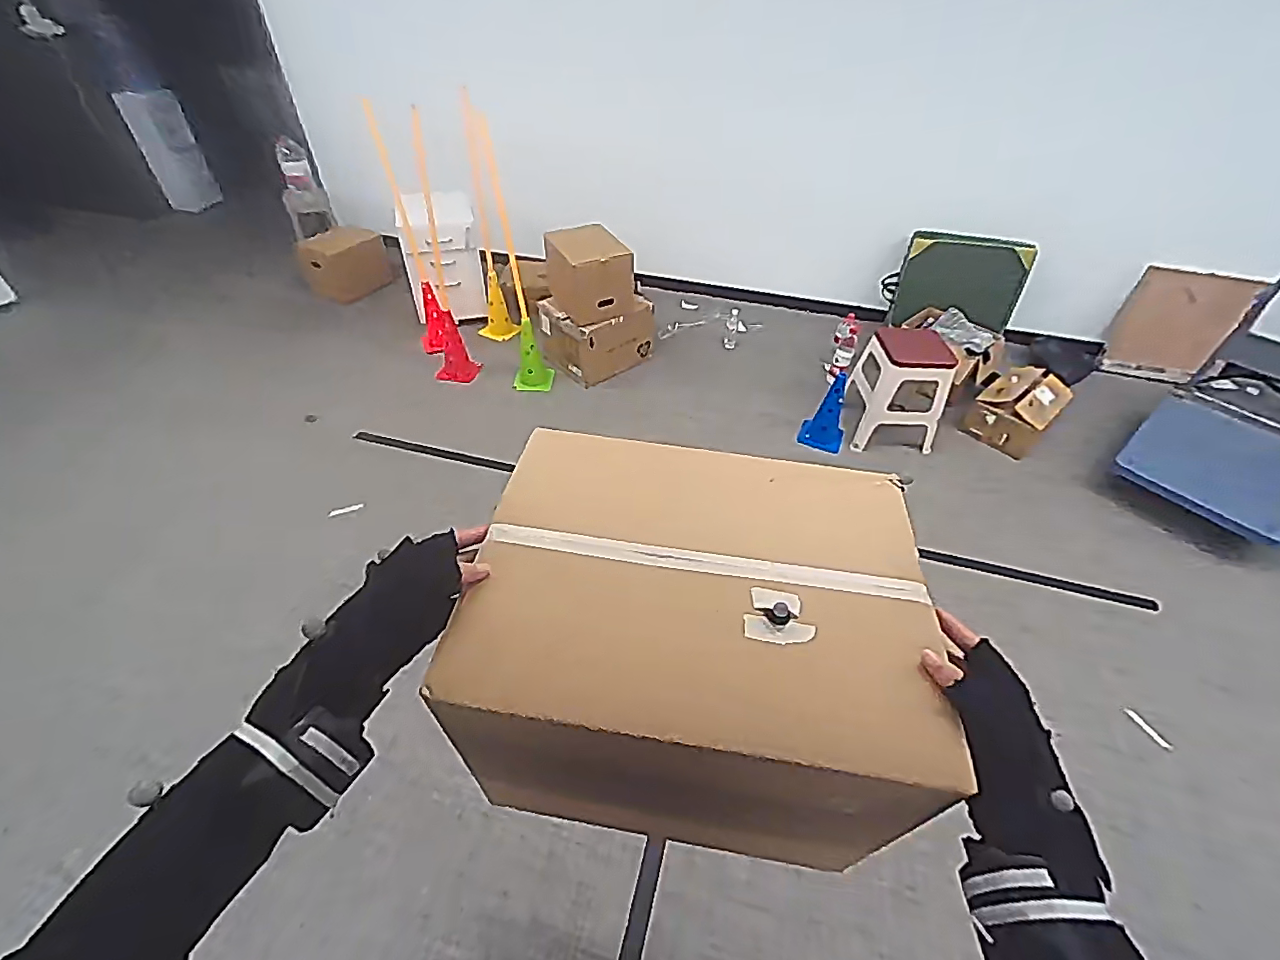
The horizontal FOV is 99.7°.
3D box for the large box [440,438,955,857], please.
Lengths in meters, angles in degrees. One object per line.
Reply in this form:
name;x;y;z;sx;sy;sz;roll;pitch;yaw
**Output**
large box;0.050;0.187;0.617;0.408;0.320;0.320;8;47;4
